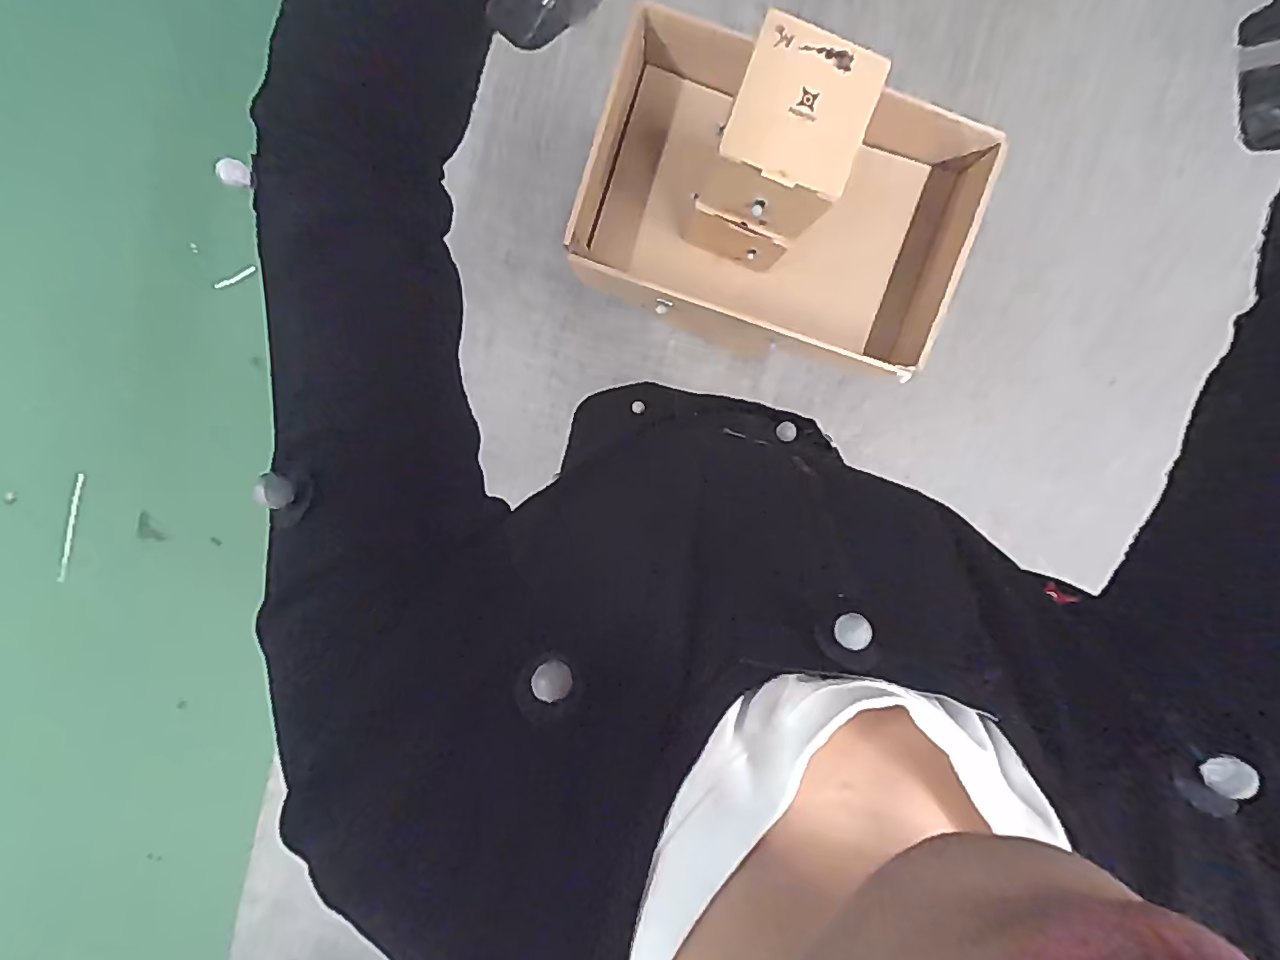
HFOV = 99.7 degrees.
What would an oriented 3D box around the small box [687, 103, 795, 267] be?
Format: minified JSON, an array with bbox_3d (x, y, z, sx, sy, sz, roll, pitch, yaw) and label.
[{"bbox_3d":[0.186,-0.484,0.904,0.168,0.176,0.179,20,95,-5],"label":"small box"}]

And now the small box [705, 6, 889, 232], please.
[{"bbox_3d":[0.197,-0.471,0.741,0.168,0.176,0.179,20,98,-6],"label":"small box"}]
